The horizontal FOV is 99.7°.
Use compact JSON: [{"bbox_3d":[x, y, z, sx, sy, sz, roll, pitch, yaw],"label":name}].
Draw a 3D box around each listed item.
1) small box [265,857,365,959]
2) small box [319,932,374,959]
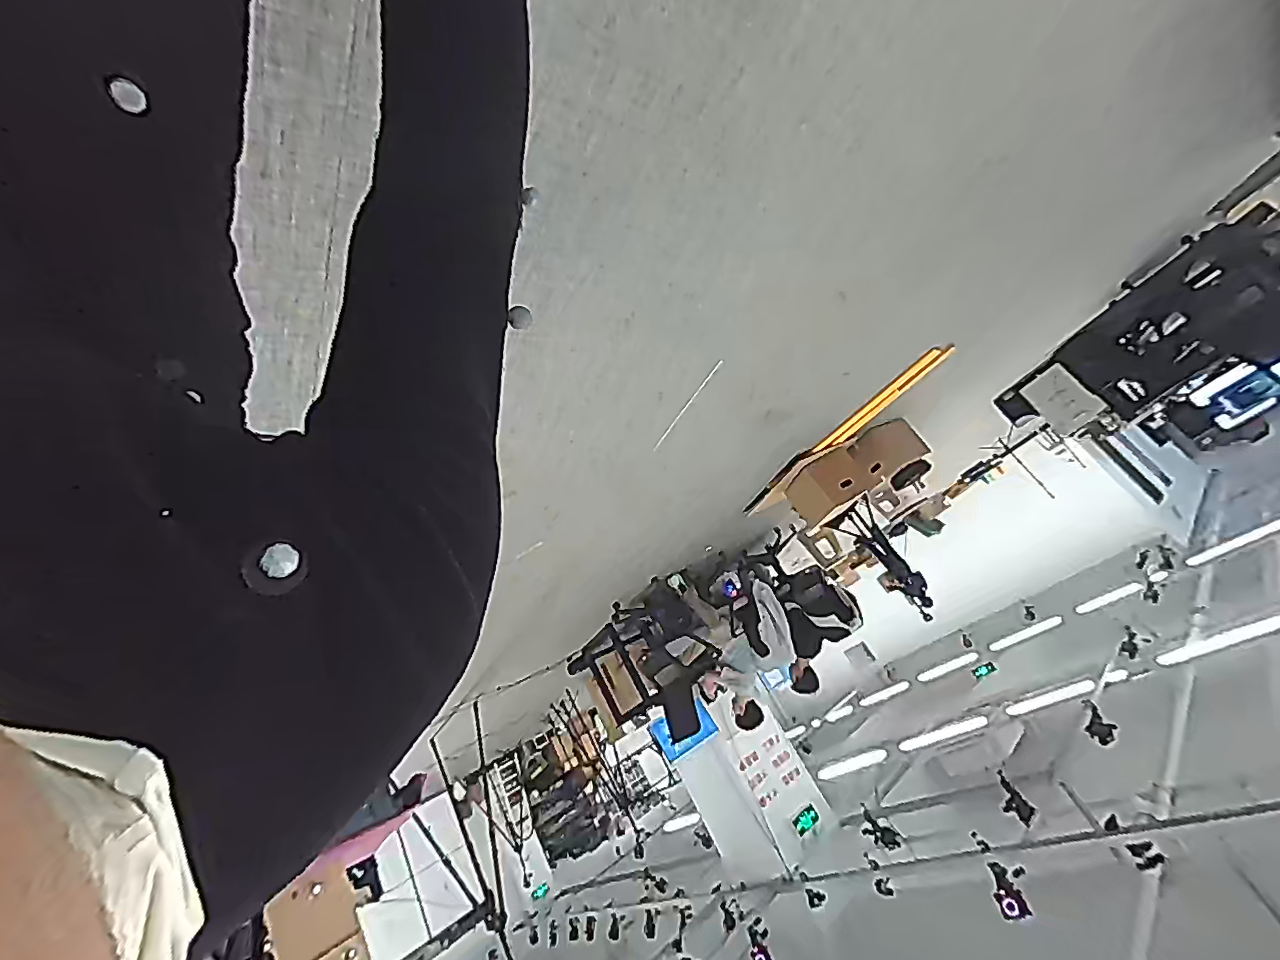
[{"bbox_3d":[-0.771,1.032,1.280,0.168,0.176,0.179,-13,152,-40],"label":"small box"},{"bbox_3d":[-0.687,1.158,1.215,0.168,0.176,0.179,-13,154,-40],"label":"small box"}]
